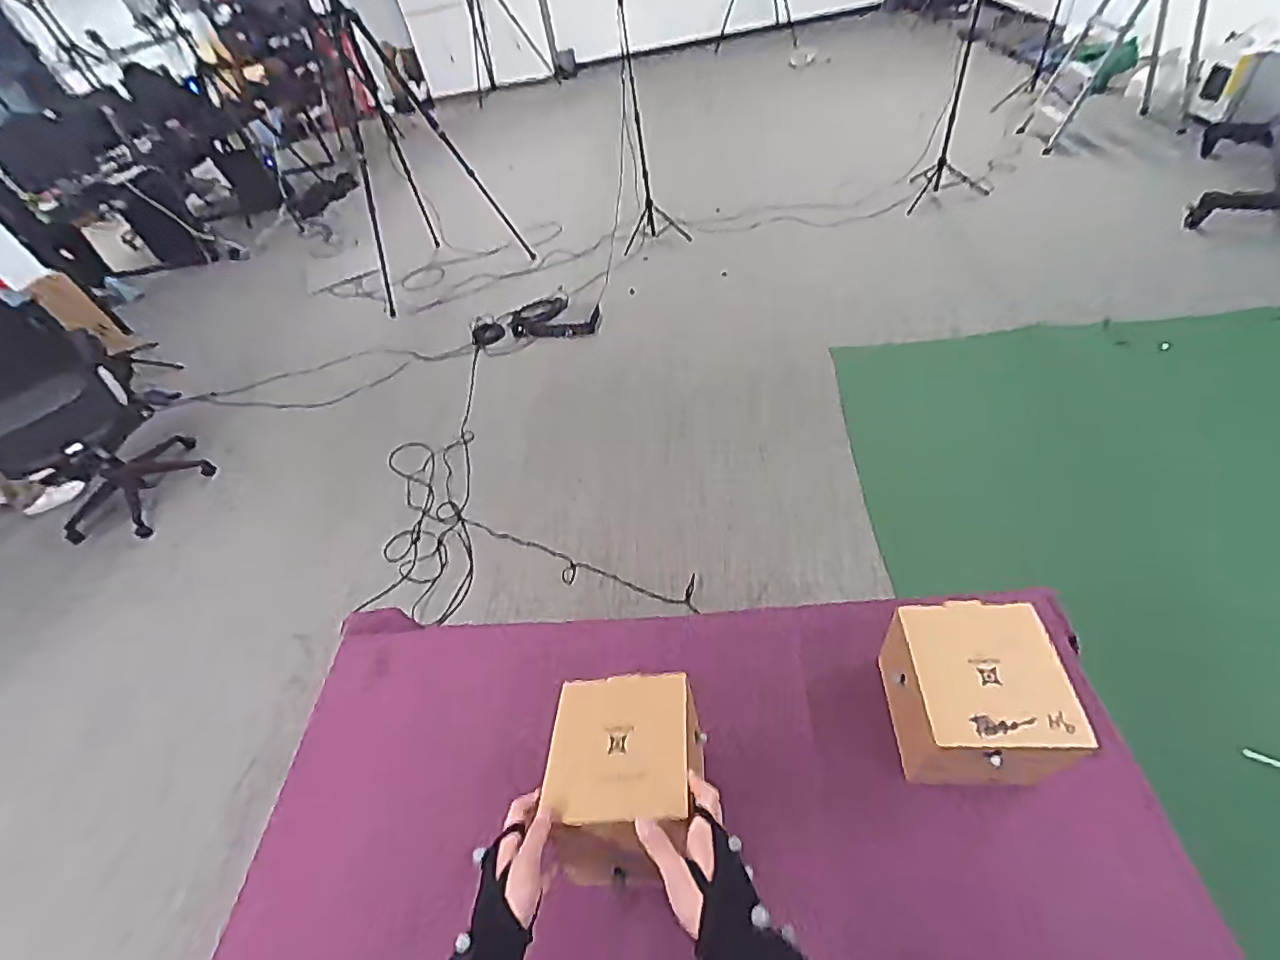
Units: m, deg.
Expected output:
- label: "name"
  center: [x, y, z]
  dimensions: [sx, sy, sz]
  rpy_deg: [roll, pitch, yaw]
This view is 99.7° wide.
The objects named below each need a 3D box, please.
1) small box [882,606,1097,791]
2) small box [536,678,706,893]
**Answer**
- label: "small box"
  center: [0.428, 0.284, 0.705]
  dimensions: [0.168, 0.176, 0.179]
  rpy_deg: [-4, 47, 10]
- label: "small box"
  center: [-0.011, 0.374, 0.669]
  dimensions: [0.168, 0.176, 0.179]
  rpy_deg: [-7, 34, 9]
